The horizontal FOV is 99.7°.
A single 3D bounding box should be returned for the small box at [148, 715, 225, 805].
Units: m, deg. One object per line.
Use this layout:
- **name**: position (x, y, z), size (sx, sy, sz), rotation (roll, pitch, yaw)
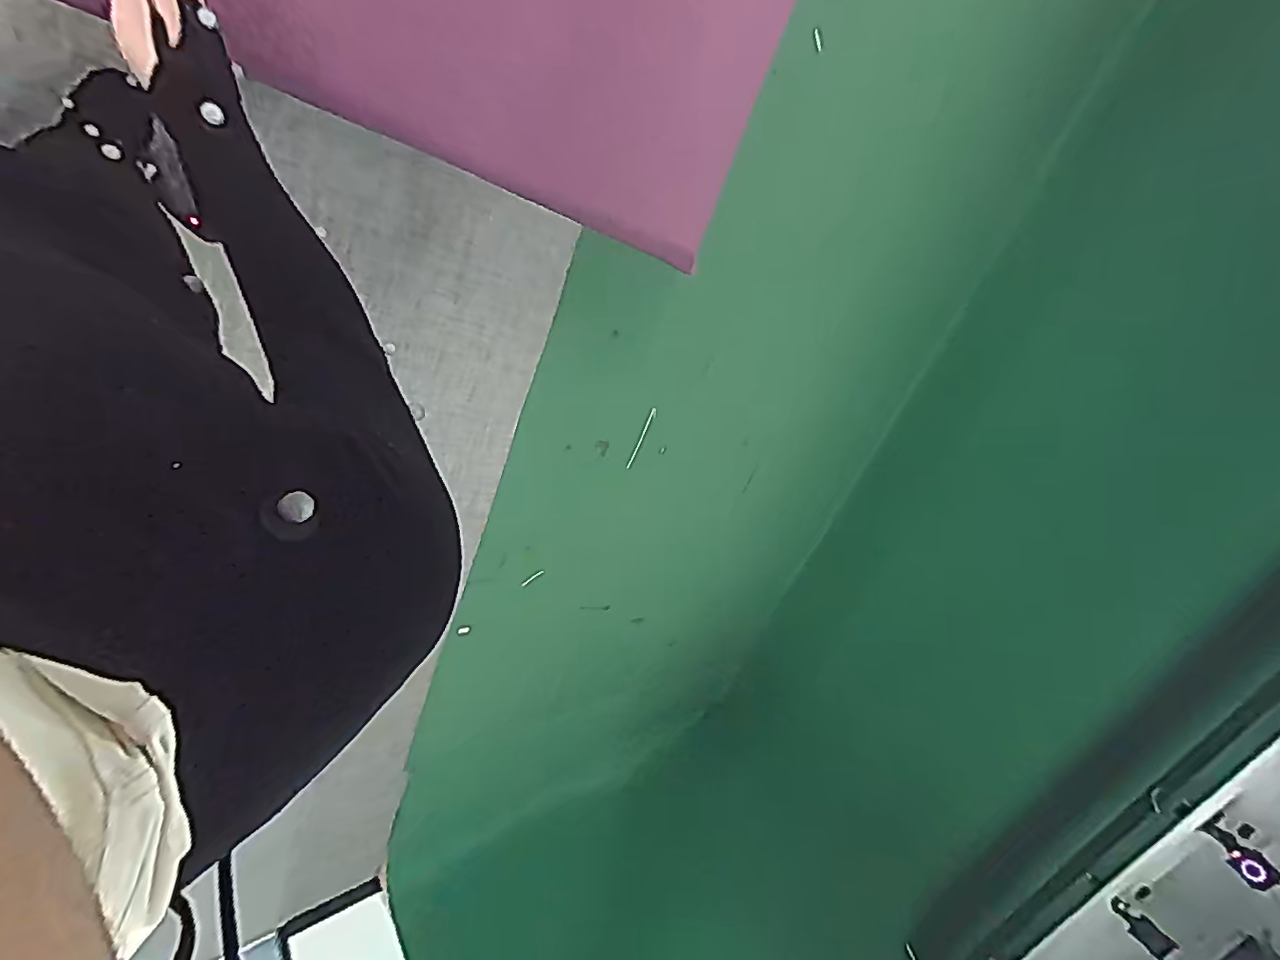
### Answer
- **small box**: position (-1.487, 0.906, 1.767), size (0.179, 0.176, 0.168), rotation (1, 121, -46)
